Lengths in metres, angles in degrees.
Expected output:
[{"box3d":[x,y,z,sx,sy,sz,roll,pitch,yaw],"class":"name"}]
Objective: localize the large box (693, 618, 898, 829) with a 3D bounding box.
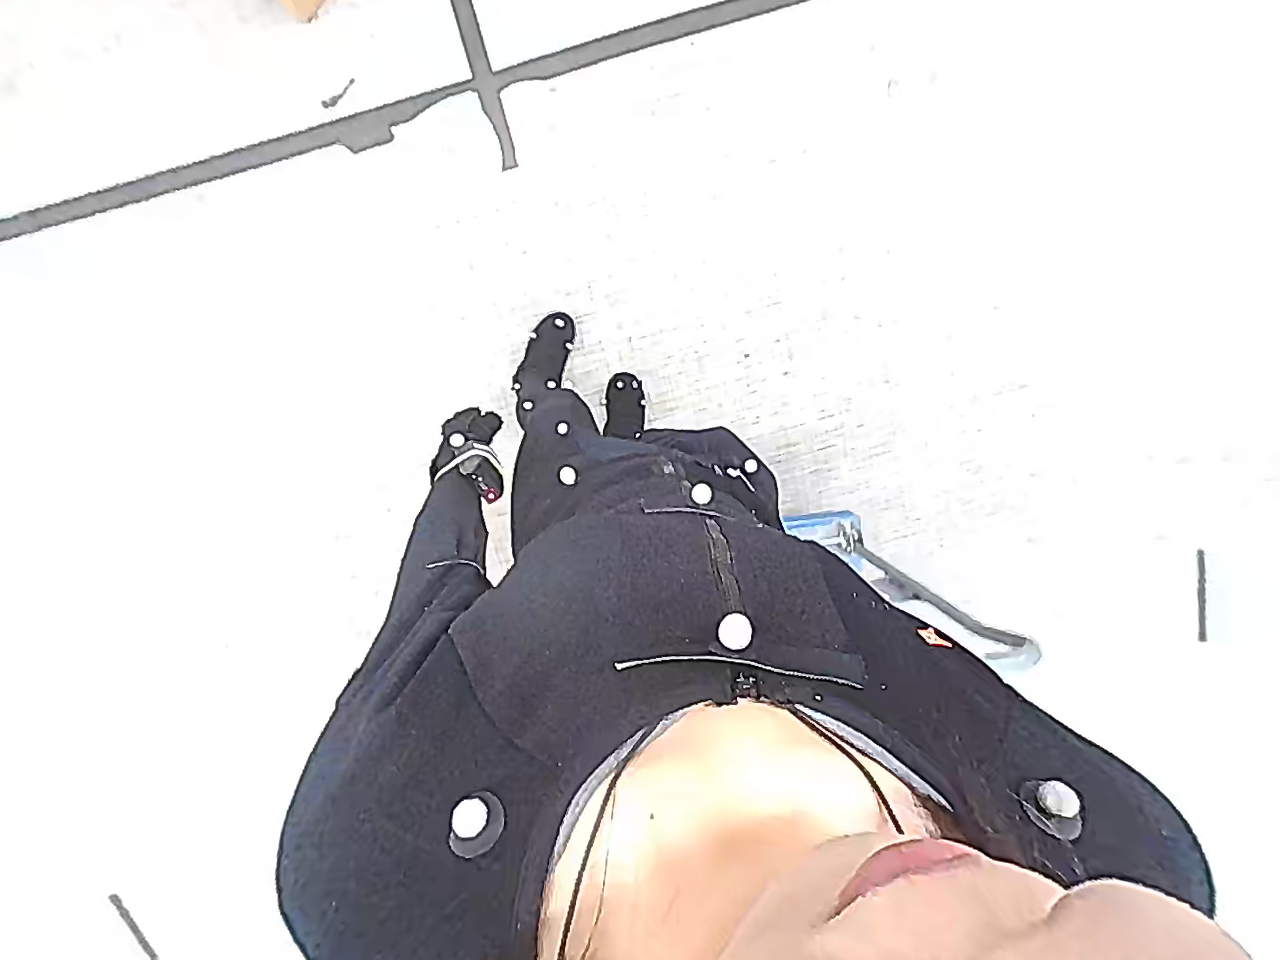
[{"box3d":[0.384,0.607,1.398,0.408,0.320,0.320,-14,105,-1],"class":"large box"}]
